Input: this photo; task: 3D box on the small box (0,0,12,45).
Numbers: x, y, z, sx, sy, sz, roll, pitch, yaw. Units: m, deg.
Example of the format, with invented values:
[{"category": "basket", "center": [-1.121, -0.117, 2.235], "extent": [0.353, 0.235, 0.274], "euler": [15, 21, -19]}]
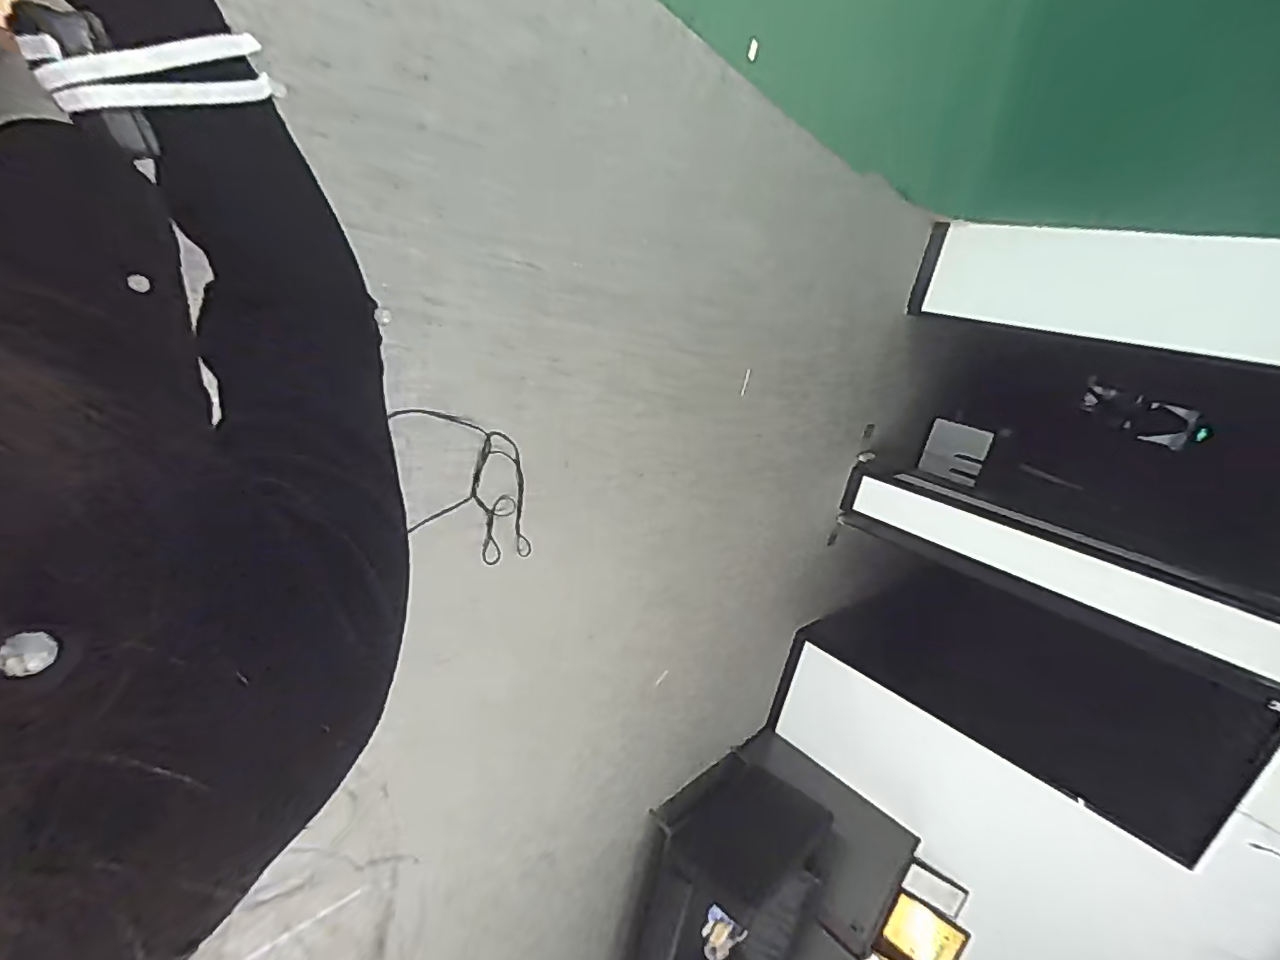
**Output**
[{"category": "small box", "center": [-0.772, -0.594, 0.554], "extent": [0.168, 0.176, 0.179], "euler": [-2, 110, -49]}]
